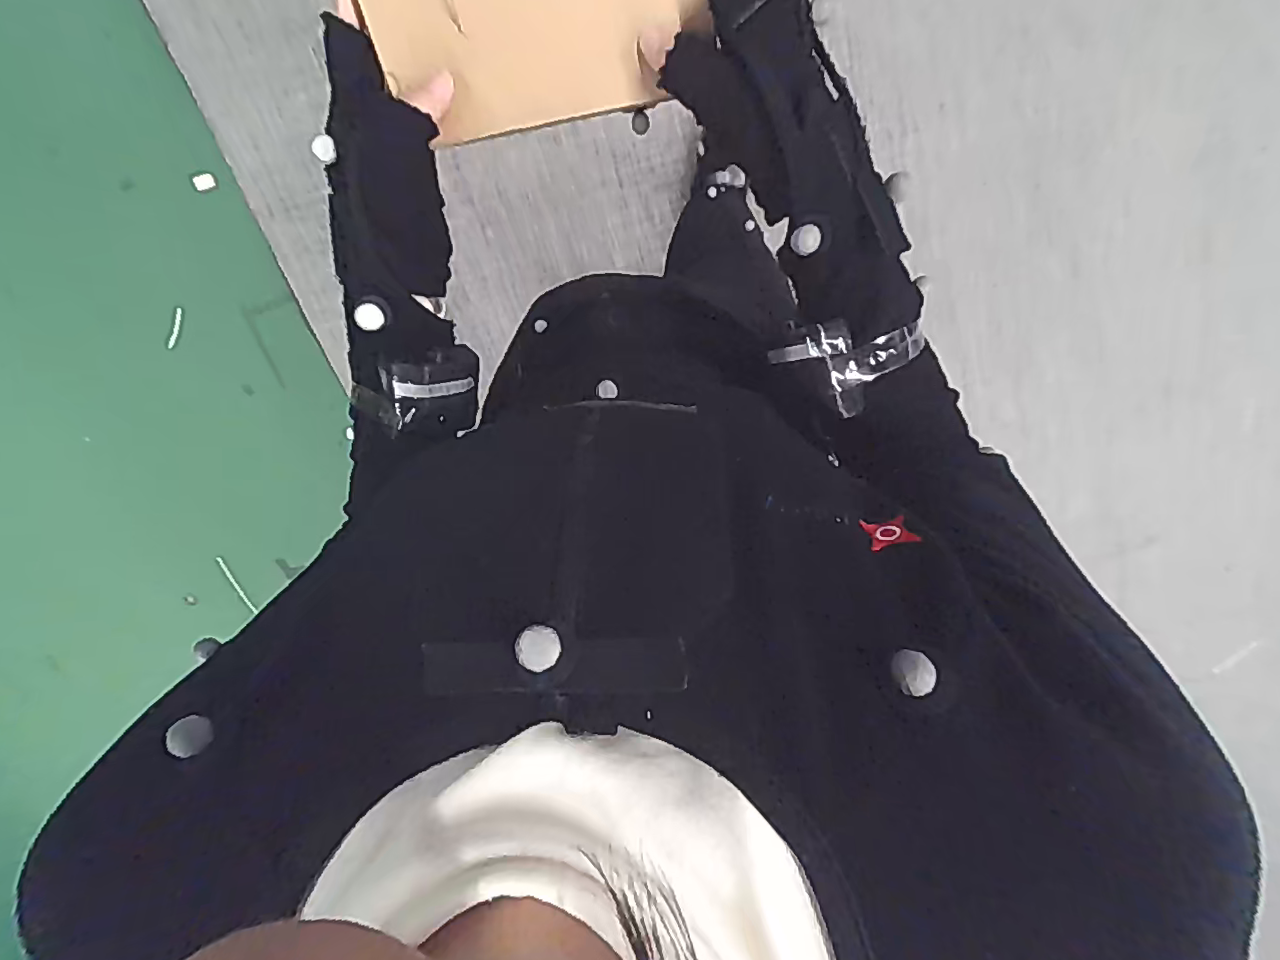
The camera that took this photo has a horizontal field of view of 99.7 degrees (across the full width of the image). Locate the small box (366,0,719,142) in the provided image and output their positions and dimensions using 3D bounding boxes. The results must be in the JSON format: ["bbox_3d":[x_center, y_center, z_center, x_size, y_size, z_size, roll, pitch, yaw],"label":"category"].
[{"bbox_3d":[-0.058,-0.317,0.320,0.179,0.176,0.168,-10,123,7],"label":"small box"}]
